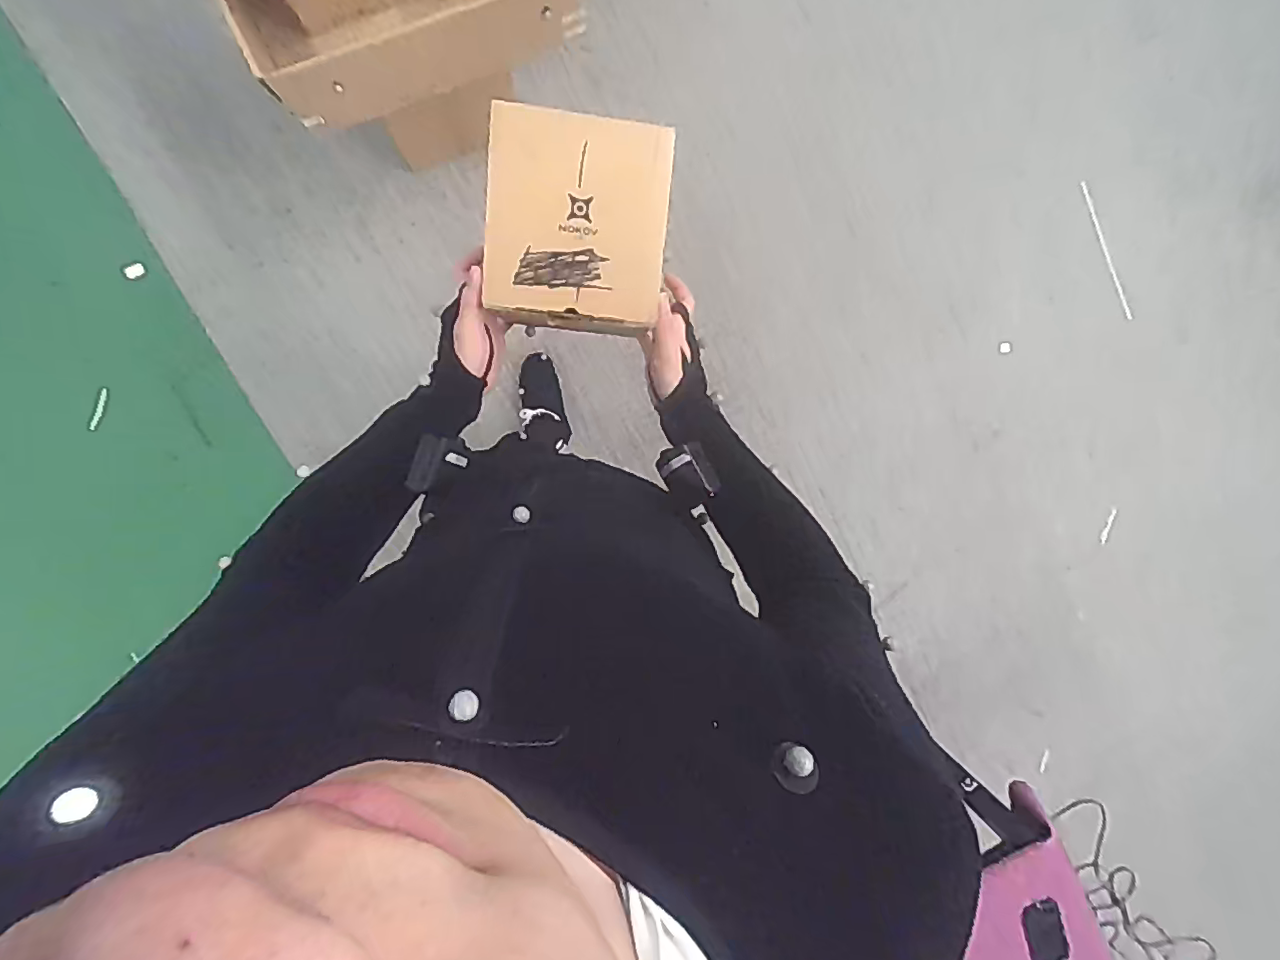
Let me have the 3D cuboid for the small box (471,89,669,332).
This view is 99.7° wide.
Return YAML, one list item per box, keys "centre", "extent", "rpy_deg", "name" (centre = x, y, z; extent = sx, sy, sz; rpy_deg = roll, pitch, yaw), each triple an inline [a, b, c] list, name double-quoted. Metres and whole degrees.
- centre: [-0.070, -0.254, 0.558]
  extent: [0.168, 0.176, 0.179]
  rpy_deg: [5, 100, -6]
  name: "small box"
